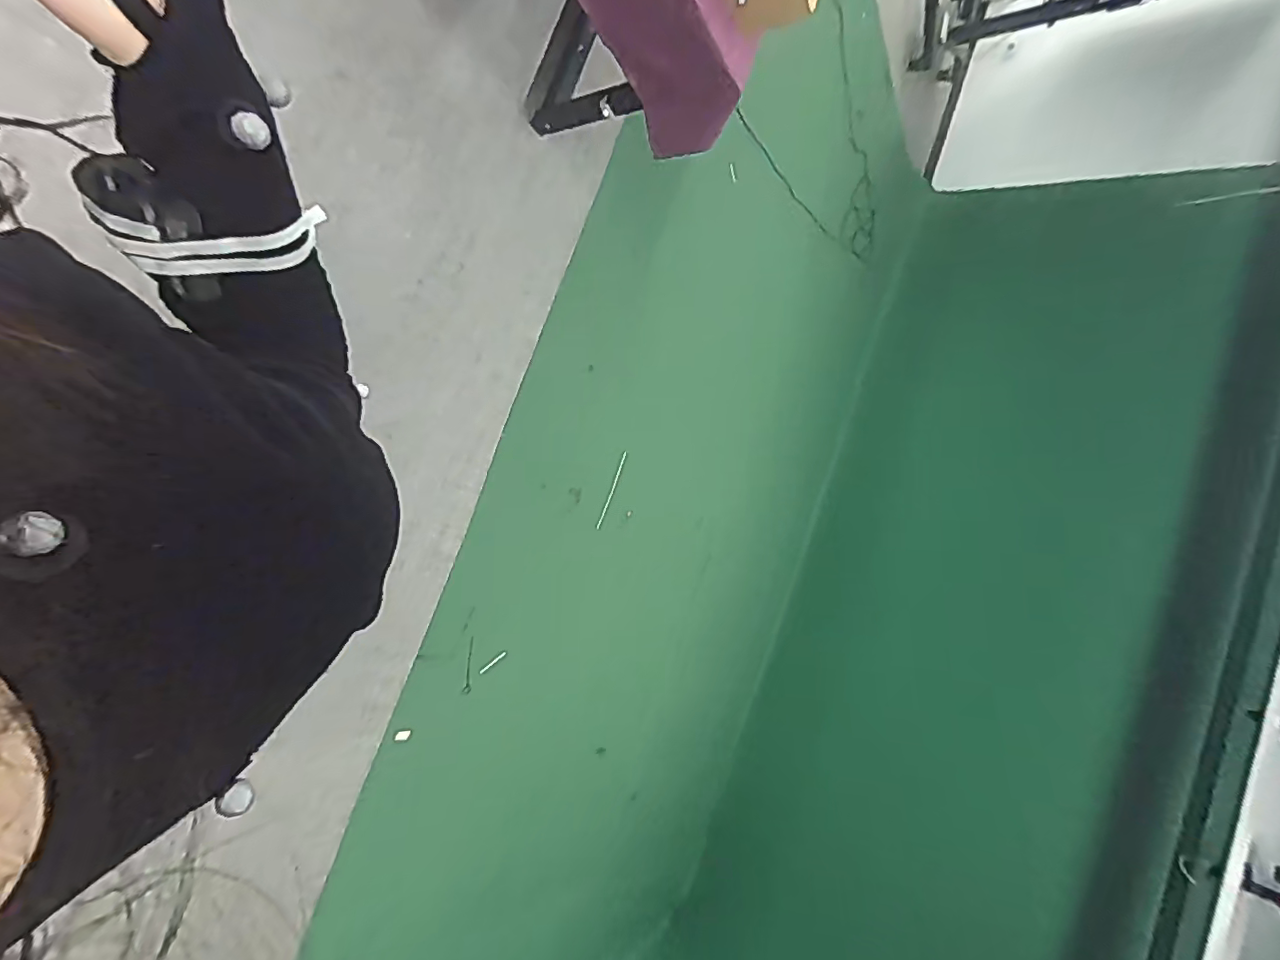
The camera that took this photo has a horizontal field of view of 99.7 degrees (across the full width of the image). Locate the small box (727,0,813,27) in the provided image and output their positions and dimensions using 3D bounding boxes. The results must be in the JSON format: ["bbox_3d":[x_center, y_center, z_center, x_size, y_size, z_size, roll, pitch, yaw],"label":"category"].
[{"bbox_3d":[0.273,-1.098,1.127,0.179,0.176,0.168,25,82,-52],"label":"small box"}]
